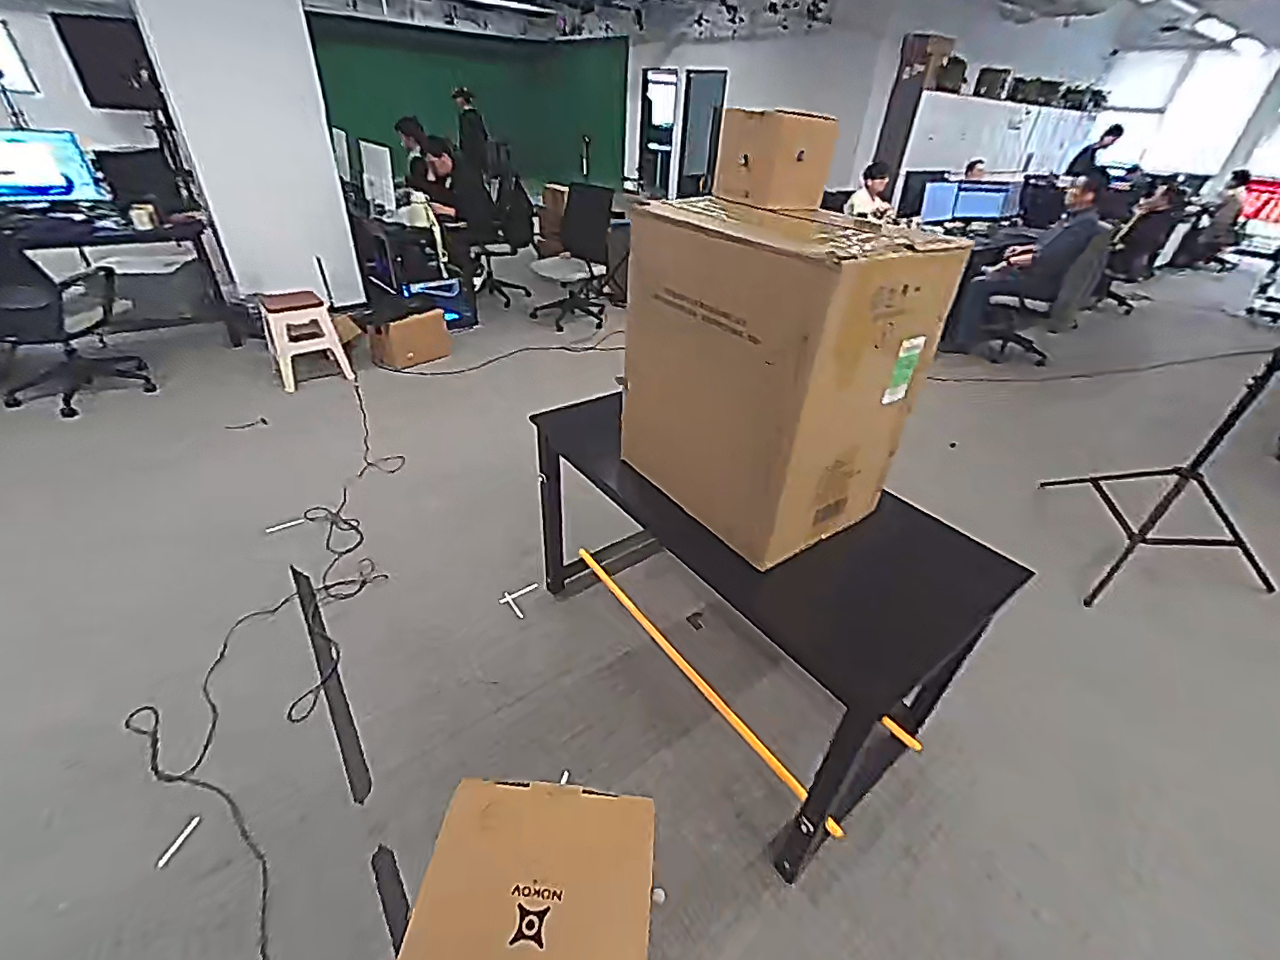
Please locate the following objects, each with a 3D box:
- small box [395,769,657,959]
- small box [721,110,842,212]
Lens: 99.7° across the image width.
[{"bbox_3d":[-0.080,0.363,0.425,0.168,0.176,0.179,5,37,2],"label":"small box"},{"bbox_3d":[0.286,-0.668,1.137,0.179,0.176,0.168,-19,42,-32],"label":"small box"}]
